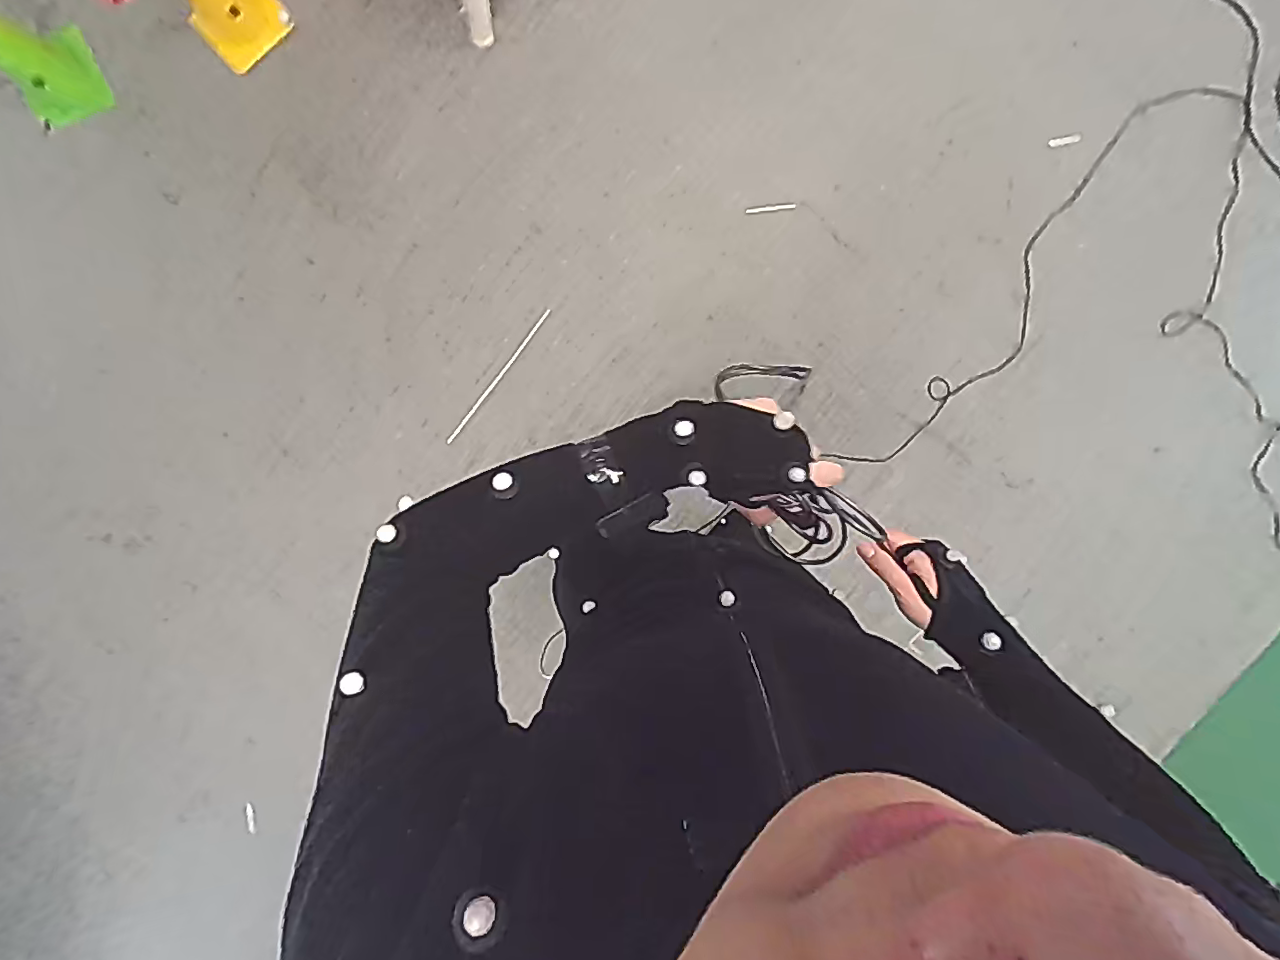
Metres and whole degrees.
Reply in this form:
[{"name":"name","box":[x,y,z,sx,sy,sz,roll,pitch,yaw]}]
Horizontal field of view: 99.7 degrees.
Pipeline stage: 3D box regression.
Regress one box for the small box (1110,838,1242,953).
[{"name":"small box","box":[1.518,1.174,1.545,0.179,0.176,0.168,34,94,-6]}]
